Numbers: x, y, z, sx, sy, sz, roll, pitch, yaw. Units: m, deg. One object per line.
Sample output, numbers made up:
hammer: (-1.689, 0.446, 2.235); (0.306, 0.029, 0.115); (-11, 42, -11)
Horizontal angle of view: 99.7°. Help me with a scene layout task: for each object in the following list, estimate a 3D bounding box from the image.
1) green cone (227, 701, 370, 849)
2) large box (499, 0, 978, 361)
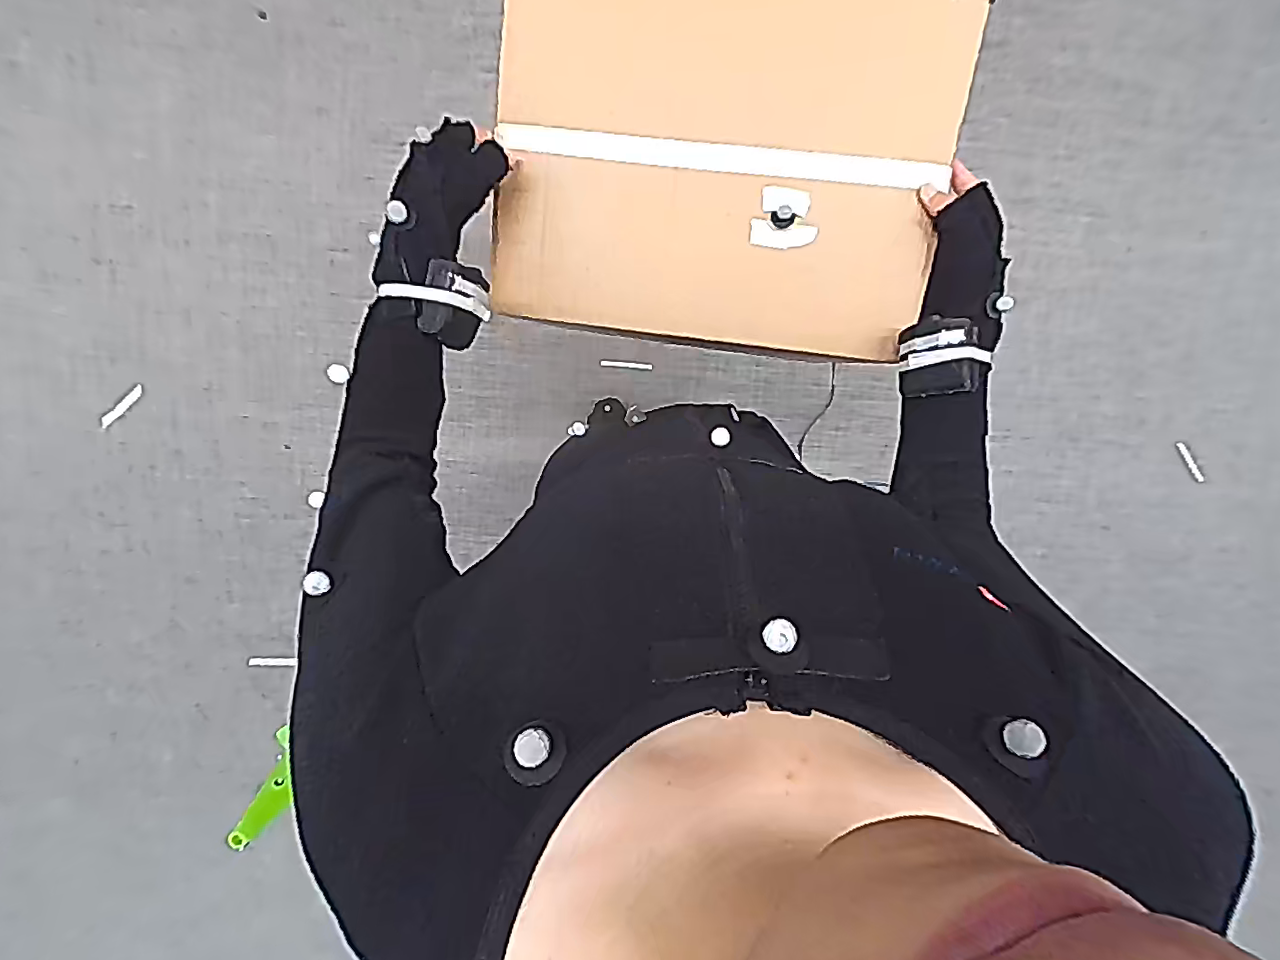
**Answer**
green cone: (-0.906, 0.780, 1.388); (0.202, 0.368, 0.200); (-34, 97, 5)
large box: (0.083, -0.321, 0.640); (0.408, 0.320, 0.320); (9, 103, 4)
